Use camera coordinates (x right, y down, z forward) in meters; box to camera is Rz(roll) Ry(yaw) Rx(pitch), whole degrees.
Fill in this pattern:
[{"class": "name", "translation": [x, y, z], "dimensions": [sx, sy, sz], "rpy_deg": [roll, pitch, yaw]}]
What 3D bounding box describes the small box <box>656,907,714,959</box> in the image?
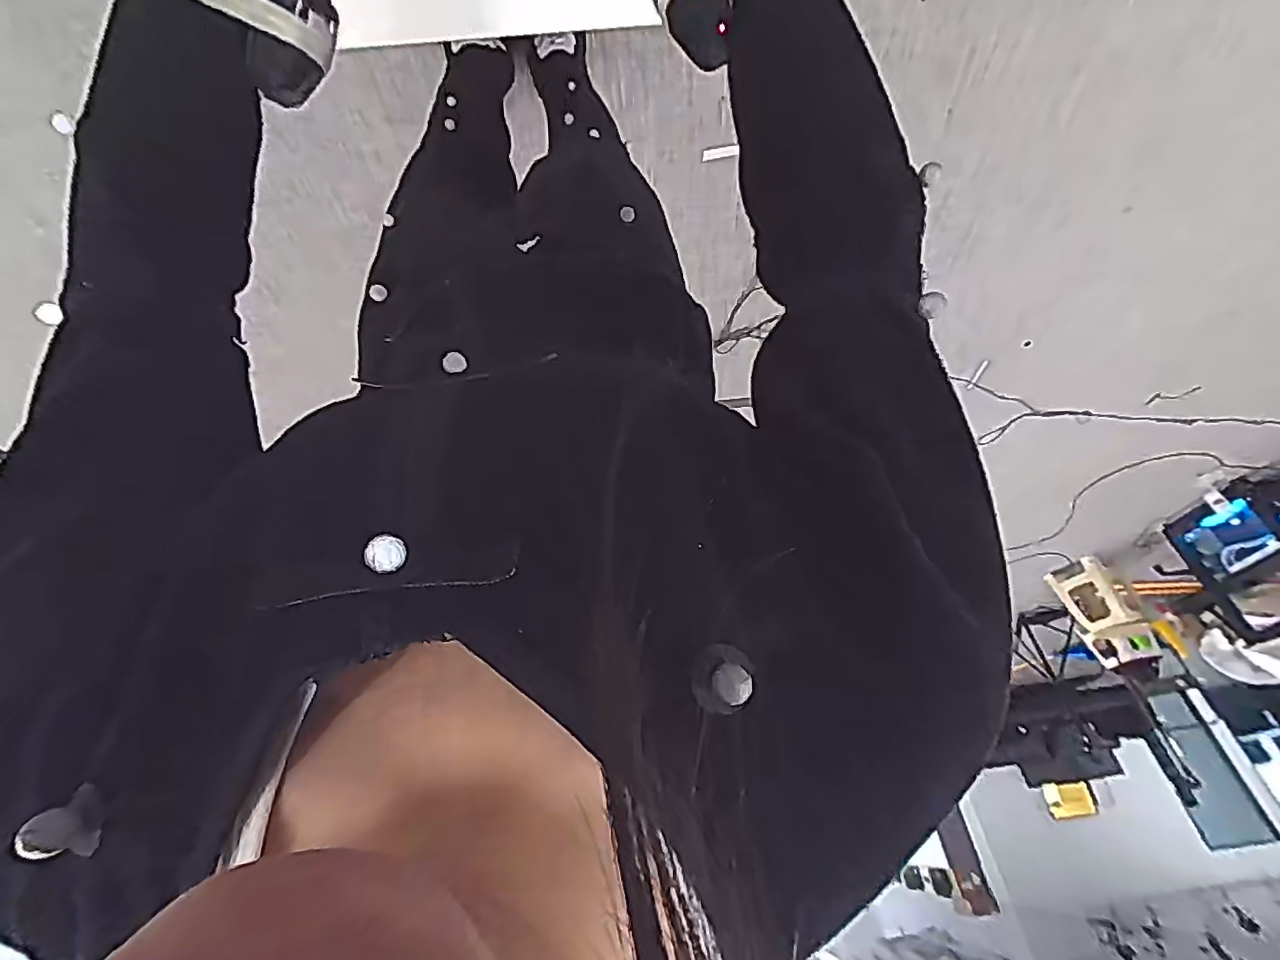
[{"class": "small box", "translation": [0.141, 1.481, 1.716], "dimensions": [0.168, 0.176, 0.179], "rpy_deg": [-6, 147, -3]}]
